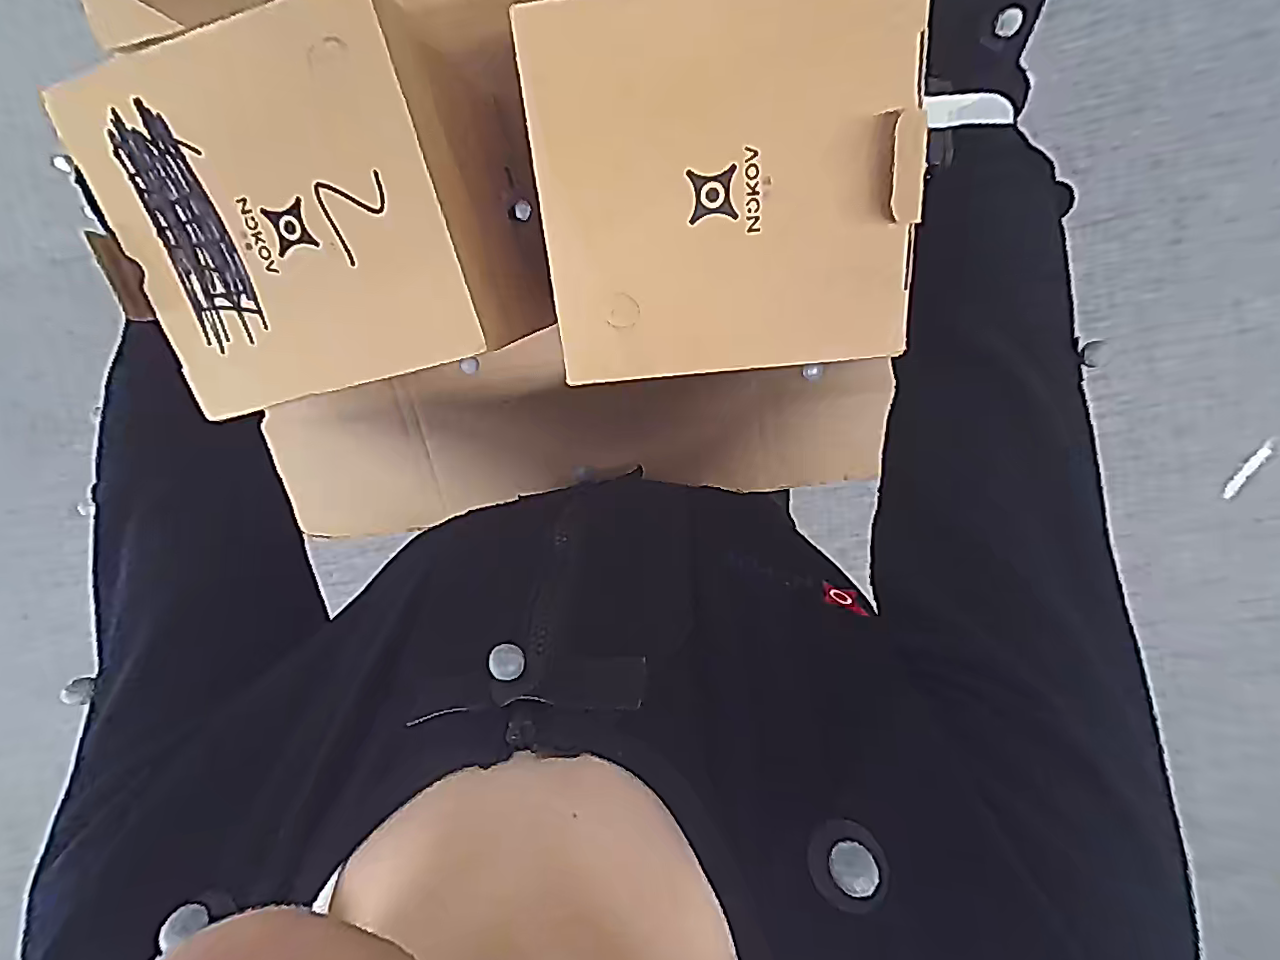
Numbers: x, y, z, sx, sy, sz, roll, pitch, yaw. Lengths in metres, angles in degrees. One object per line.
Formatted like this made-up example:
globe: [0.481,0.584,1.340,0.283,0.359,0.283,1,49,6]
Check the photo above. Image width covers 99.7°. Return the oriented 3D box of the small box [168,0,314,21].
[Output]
small box: [-0.245,-0.380,0.276,0.168,0.176,0.179,-8,107,8]
